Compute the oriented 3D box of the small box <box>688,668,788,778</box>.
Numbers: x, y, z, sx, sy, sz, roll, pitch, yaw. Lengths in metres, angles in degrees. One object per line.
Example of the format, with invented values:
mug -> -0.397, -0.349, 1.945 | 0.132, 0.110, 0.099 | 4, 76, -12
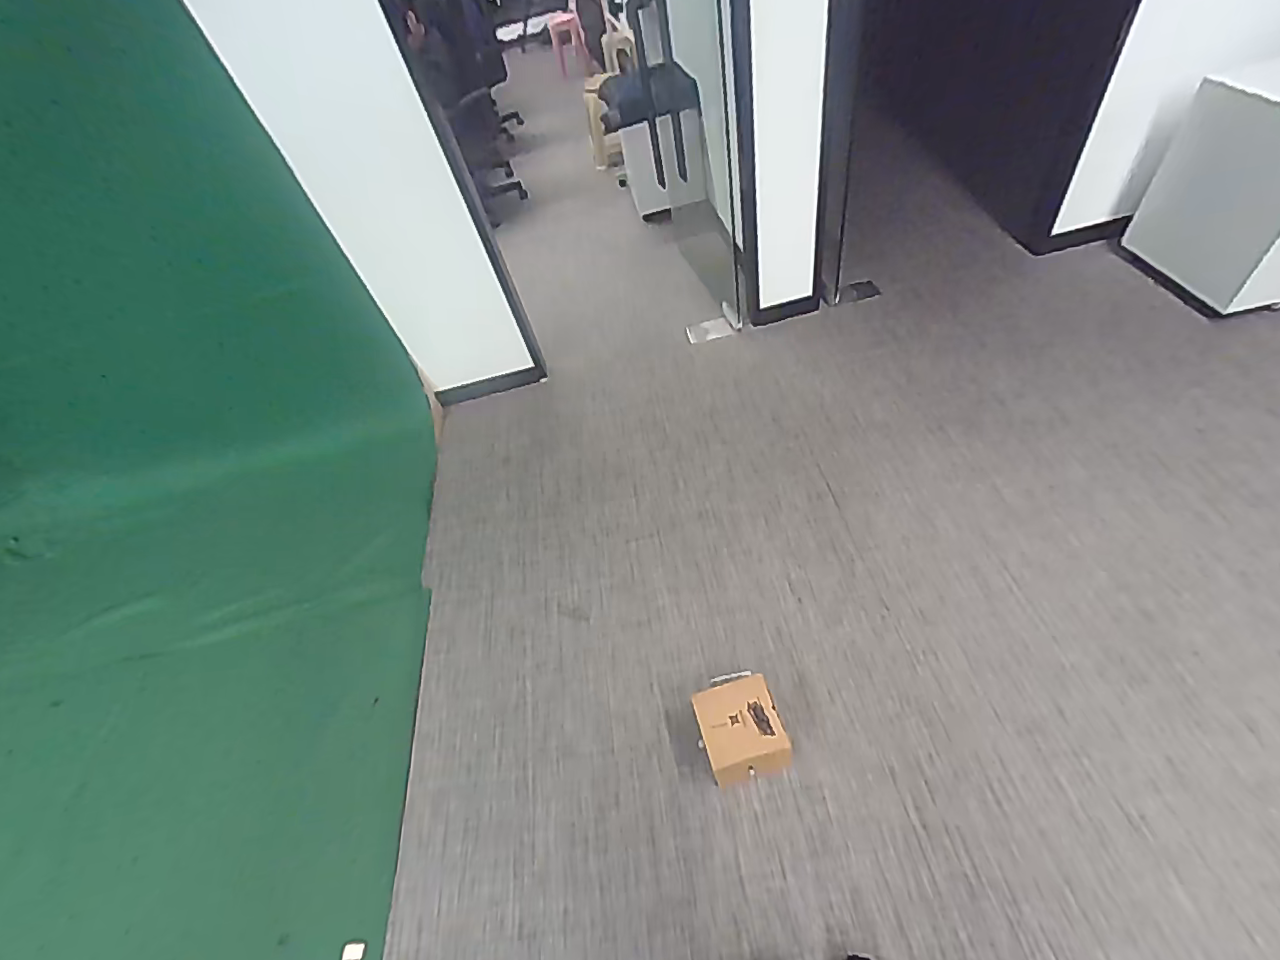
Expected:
small box -> 0.226, 0.571, 1.265 | 0.179, 0.176, 0.168 | -19, 49, -3
